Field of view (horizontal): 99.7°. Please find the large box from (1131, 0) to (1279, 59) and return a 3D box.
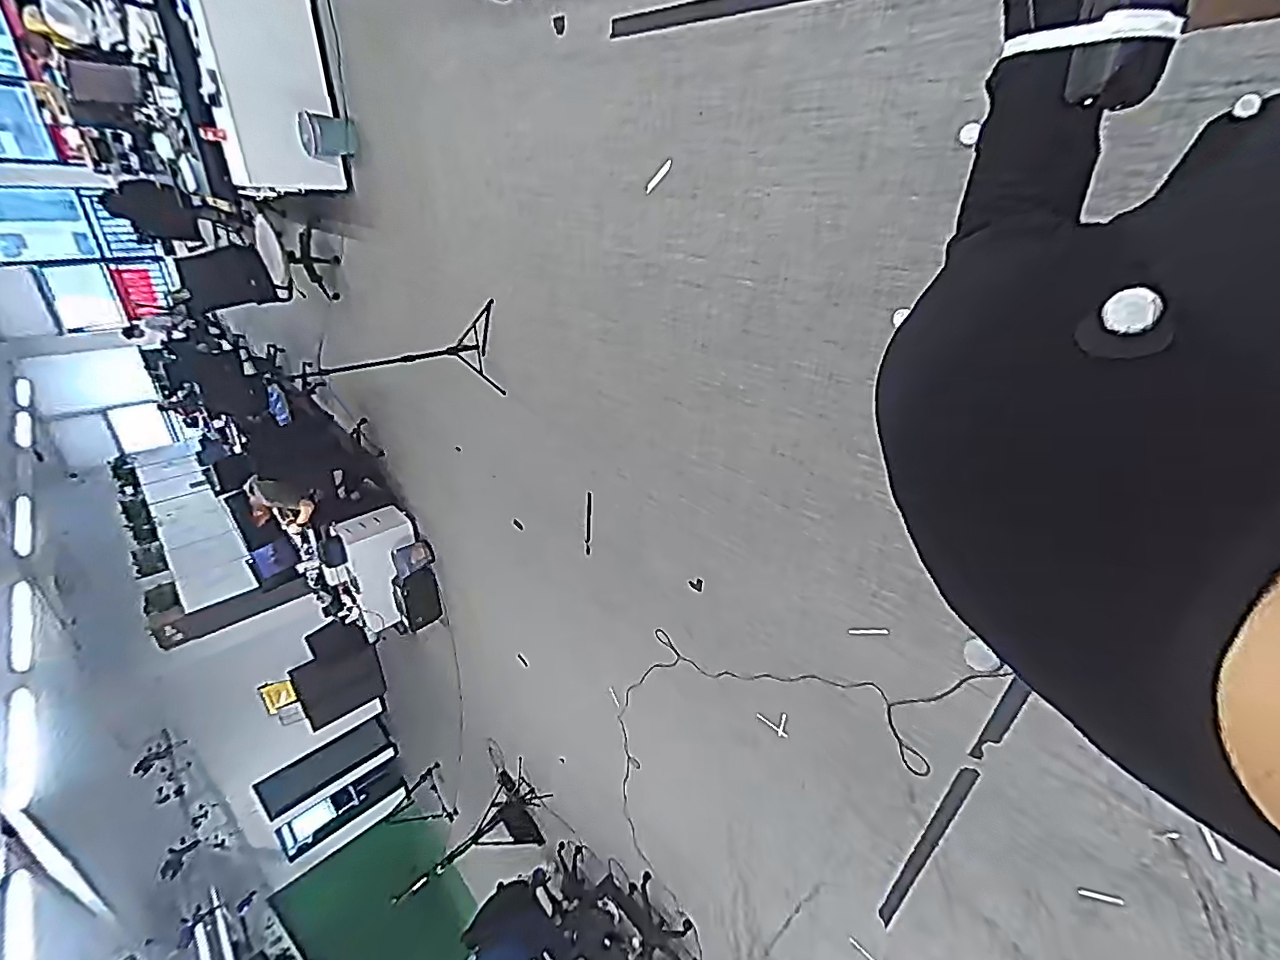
[{"bbox_3d":[0.527,-0.434,0.237,0.408,0.320,0.320,20,126,37],"label":"large box"}]
